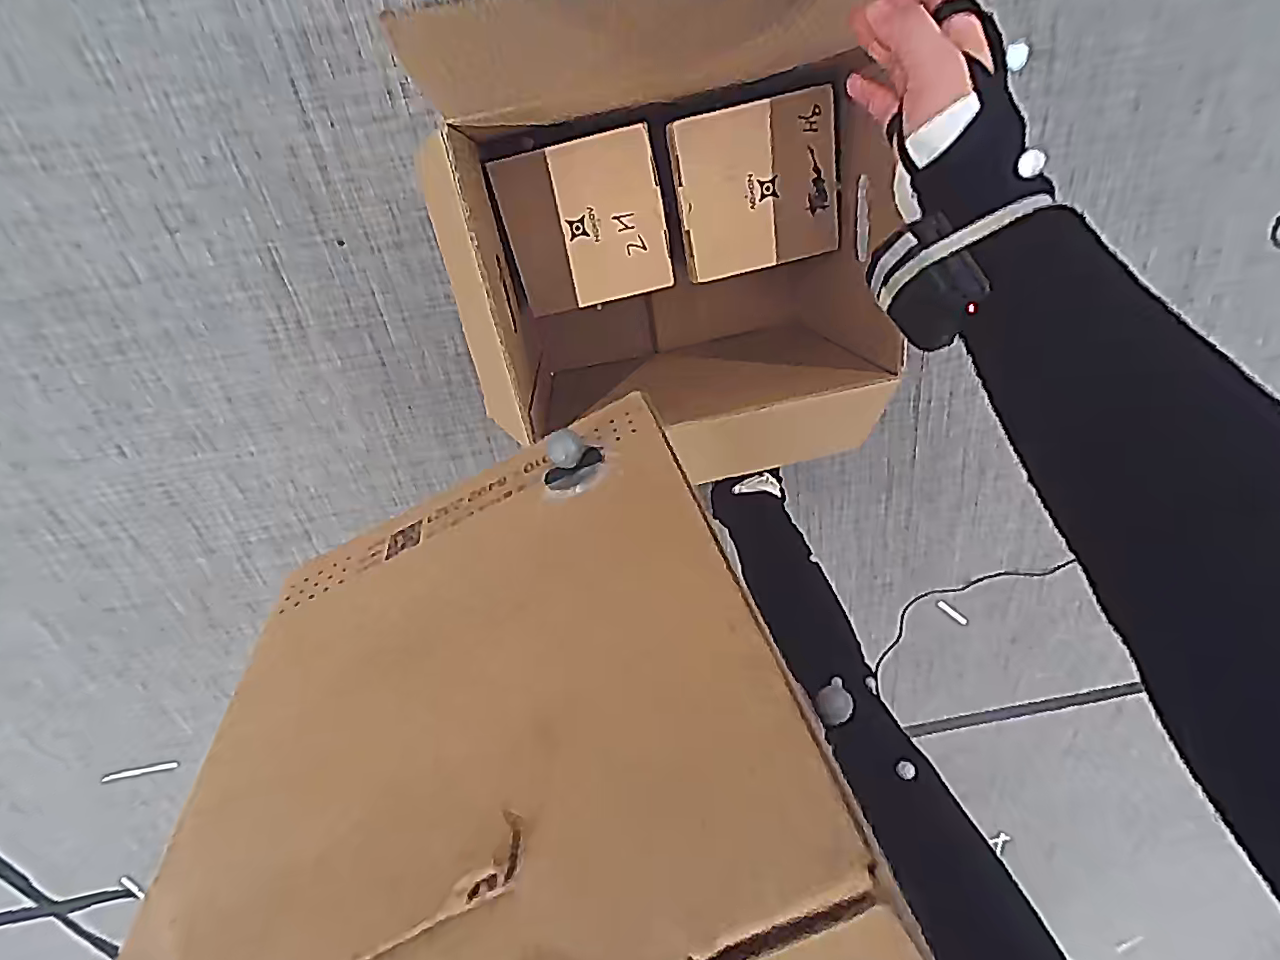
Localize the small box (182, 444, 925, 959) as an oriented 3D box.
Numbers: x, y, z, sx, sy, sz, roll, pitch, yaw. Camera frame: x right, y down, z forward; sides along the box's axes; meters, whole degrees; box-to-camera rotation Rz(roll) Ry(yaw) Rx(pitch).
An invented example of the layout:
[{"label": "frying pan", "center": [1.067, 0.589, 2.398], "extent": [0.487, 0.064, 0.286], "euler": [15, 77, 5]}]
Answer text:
[{"label": "small box", "center": [-0.021, 0.108, 0.206], "extent": [0.168, 0.176, 0.179], "euler": [-27, 127, 5]}]
